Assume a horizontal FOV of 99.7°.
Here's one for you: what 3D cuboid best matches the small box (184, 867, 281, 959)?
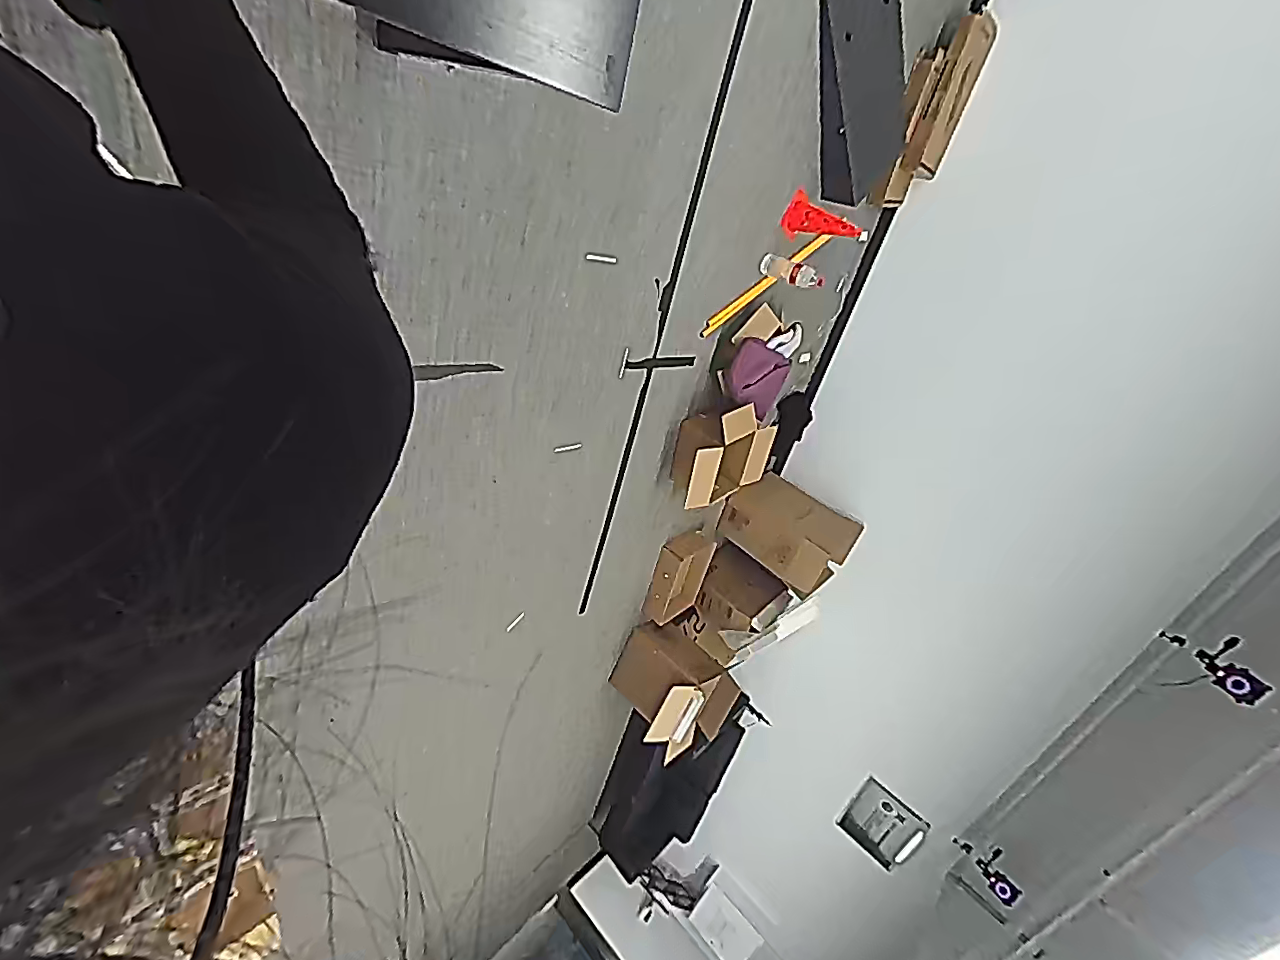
[{"bbox_3d":[-1.110,1.216,1.476,0.168,0.176,0.179,-20,130,-47],"label":"small box"}]
